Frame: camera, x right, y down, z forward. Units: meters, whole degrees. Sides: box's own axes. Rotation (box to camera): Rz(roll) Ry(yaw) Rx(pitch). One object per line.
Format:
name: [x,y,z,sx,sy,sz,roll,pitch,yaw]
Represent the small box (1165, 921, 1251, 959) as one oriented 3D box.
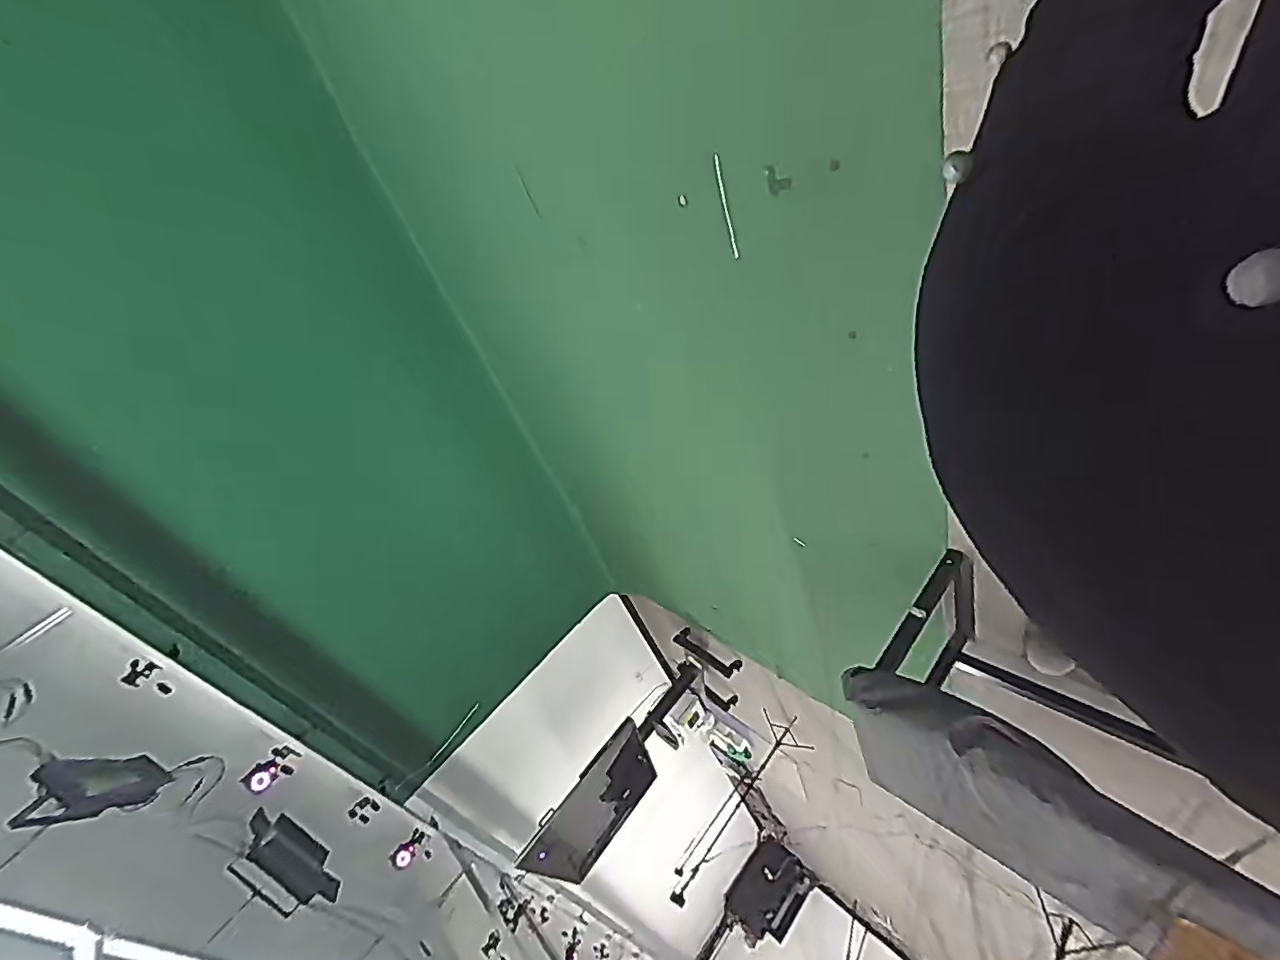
small box: [1.285,1.142,1.196,0.179,0.176,0.168,11,136,54]
